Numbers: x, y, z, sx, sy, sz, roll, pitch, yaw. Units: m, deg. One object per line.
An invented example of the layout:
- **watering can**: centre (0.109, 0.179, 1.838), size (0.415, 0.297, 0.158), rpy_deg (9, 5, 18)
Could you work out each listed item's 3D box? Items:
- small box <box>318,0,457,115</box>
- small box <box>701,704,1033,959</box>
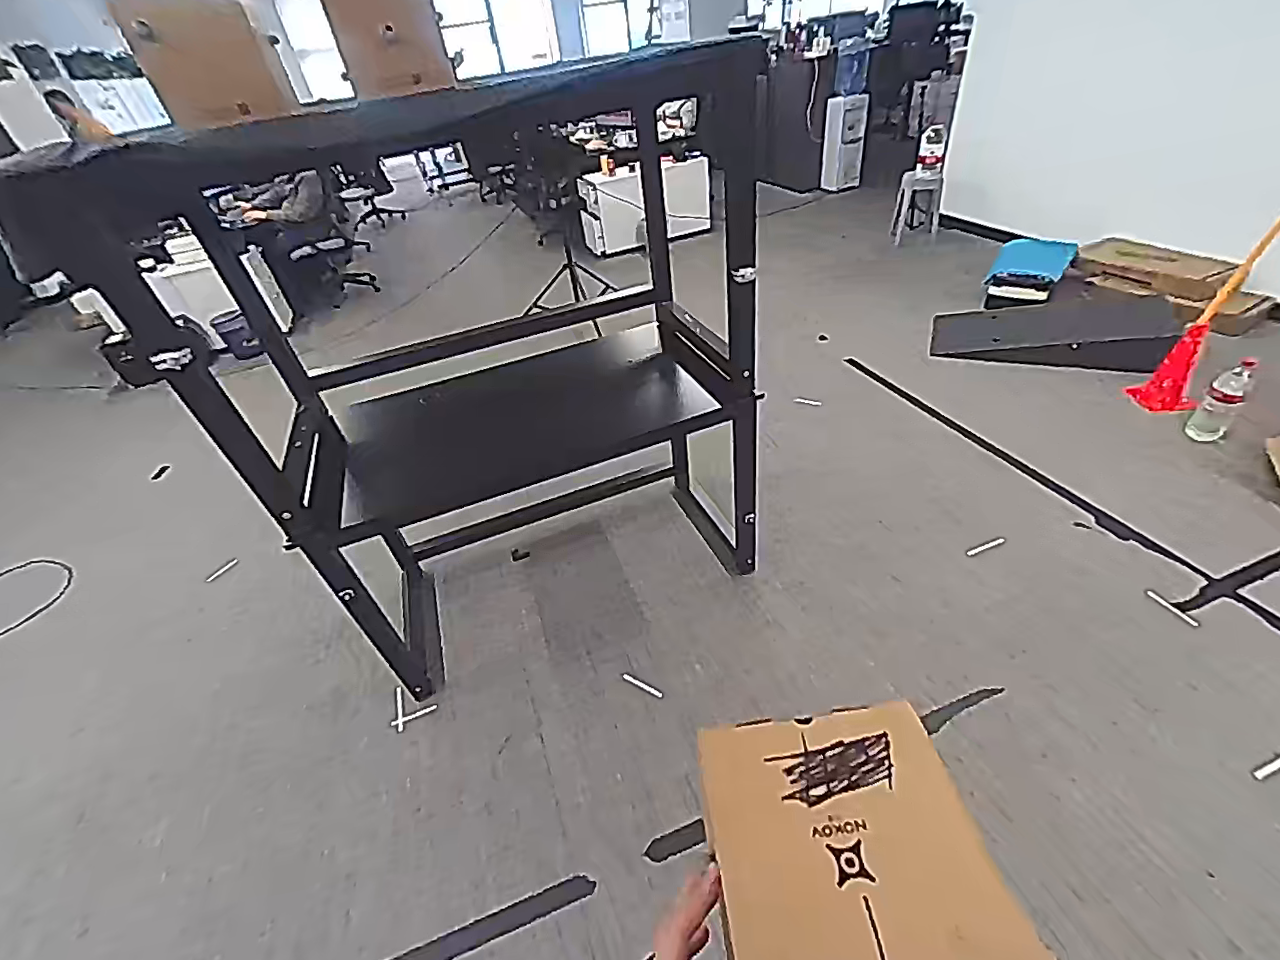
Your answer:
- **small box**: centre (-0.420, -0.733, 0.917), size (0.168, 0.176, 0.179), rpy_deg (-18, 38, -11)
- **small box**: centre (0.139, 0.297, 0.399), size (0.168, 0.176, 0.179), rpy_deg (-8, 40, 0)
